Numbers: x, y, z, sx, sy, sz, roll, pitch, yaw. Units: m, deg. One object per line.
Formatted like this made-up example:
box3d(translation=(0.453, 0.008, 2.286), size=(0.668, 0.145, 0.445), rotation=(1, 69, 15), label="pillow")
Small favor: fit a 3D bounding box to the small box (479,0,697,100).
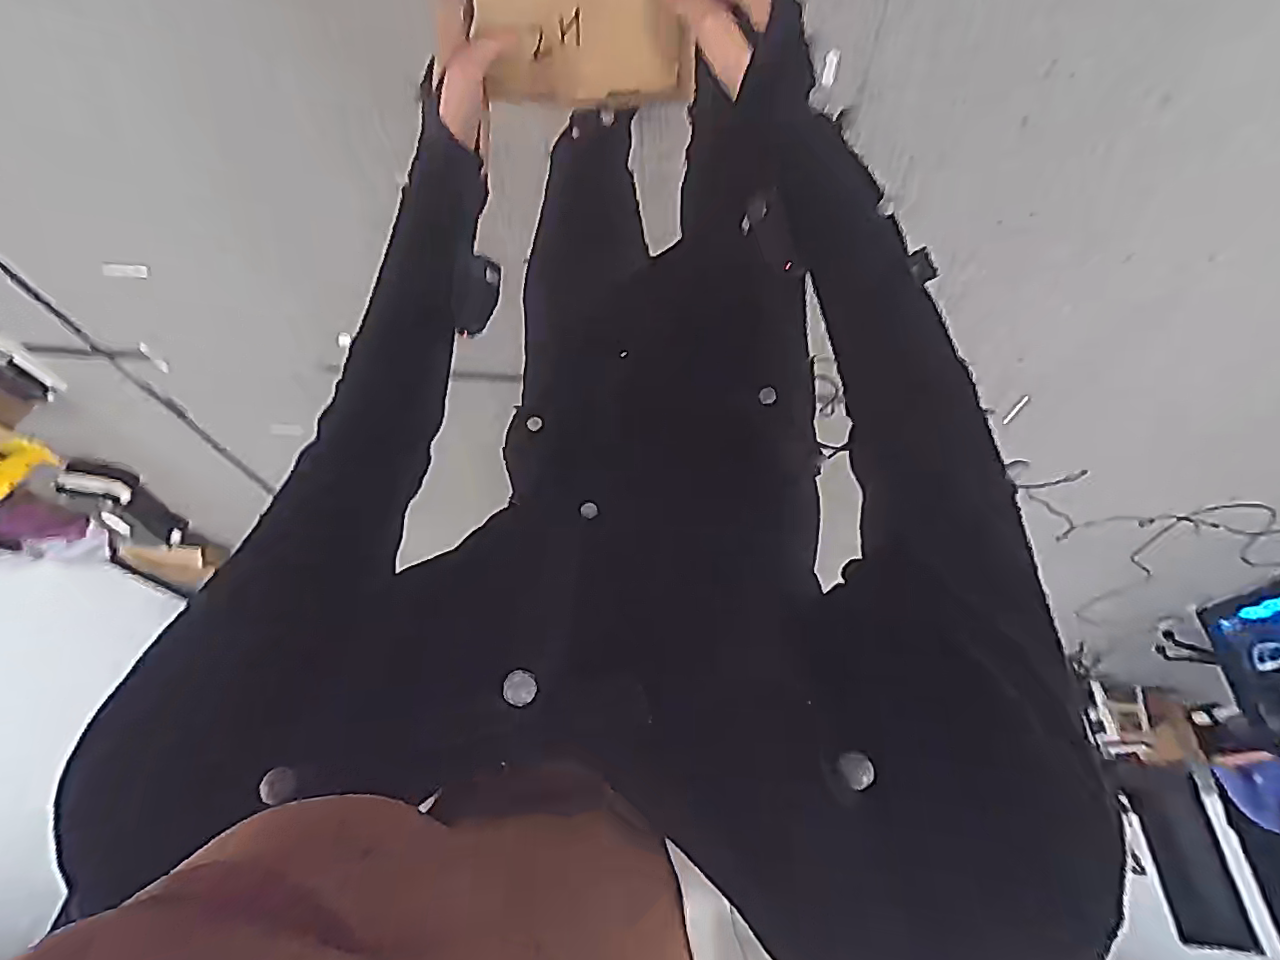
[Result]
box3d(translation=(-0.037, -0.449, 0.476), size=(0.168, 0.176, 0.179), rotation=(4, 122, 8), label="small box")
